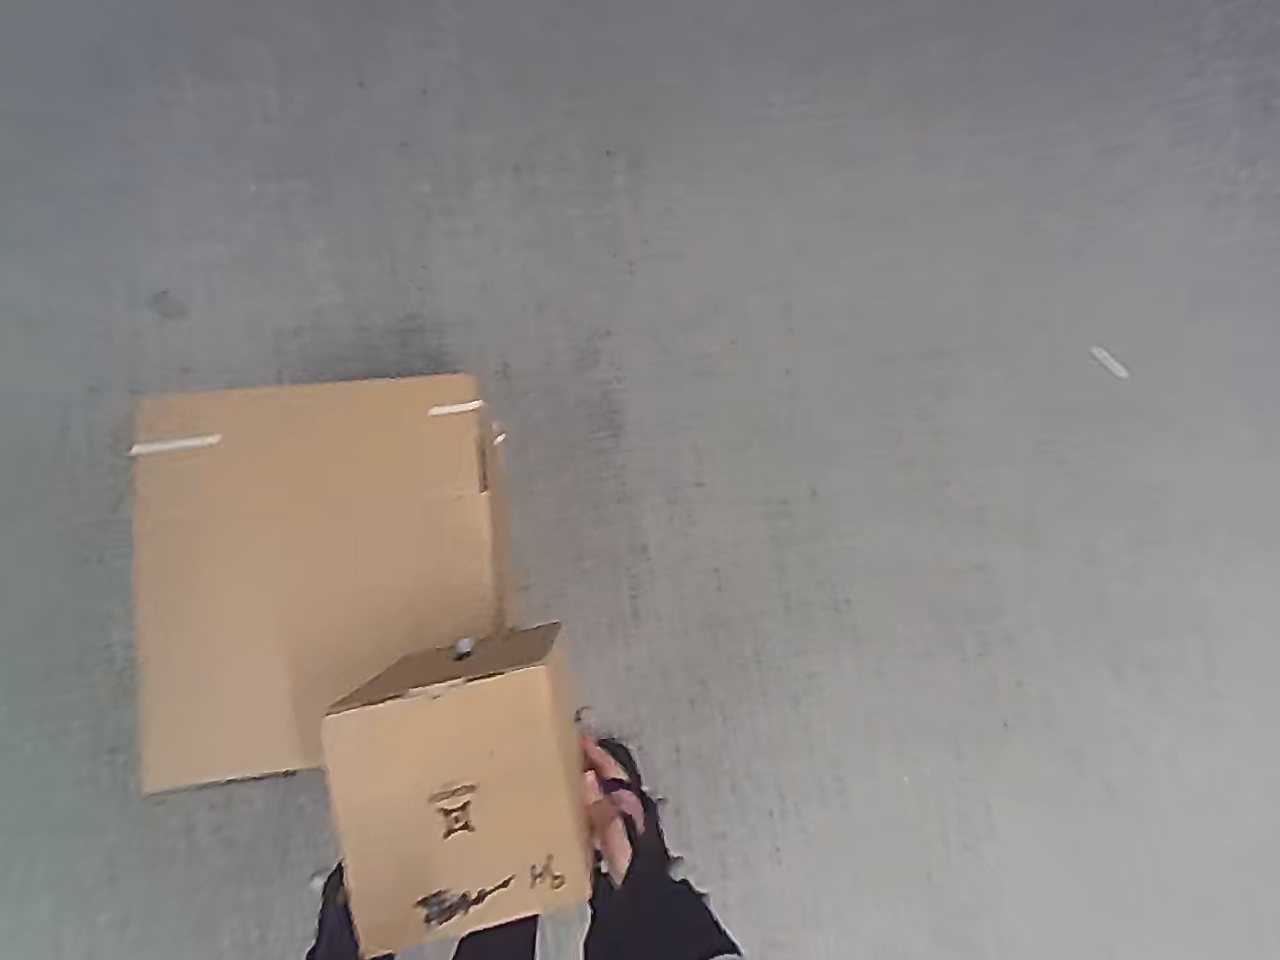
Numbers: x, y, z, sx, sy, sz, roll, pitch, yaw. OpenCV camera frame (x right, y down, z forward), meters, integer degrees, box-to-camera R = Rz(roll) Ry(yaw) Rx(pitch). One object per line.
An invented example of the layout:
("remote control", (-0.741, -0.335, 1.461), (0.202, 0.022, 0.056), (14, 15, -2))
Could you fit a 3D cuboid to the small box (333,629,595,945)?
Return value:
("small box", (-0.136, 0.238, 0.475), (0.168, 0.176, 0.179), (-11, 86, -4))
